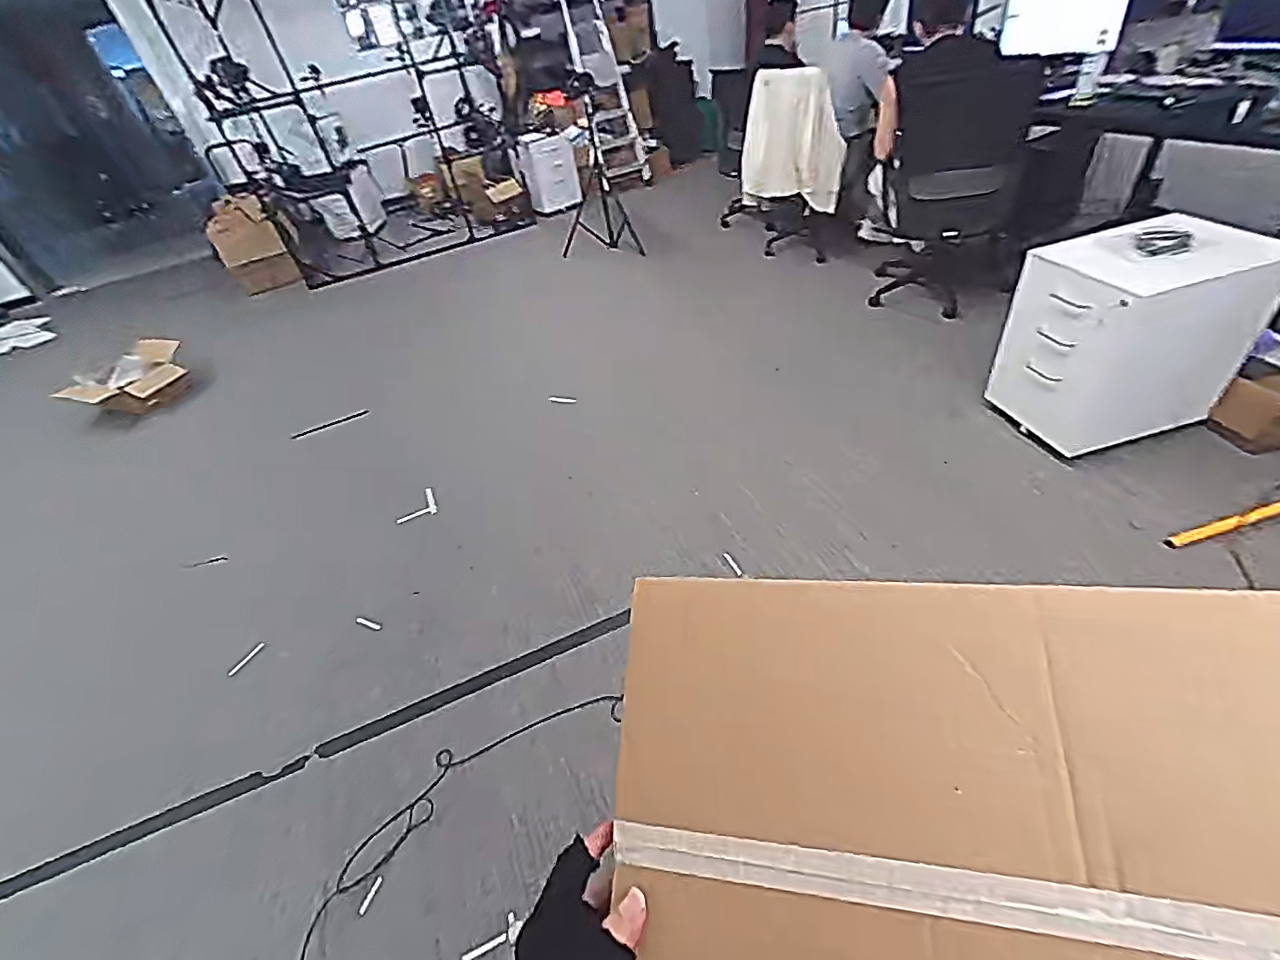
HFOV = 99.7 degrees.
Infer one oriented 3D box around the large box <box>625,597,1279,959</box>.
[{"bbox_3d":[0.223,0.276,0.408,0.408,0.320,0.320,-2,68,16],"label":"large box"}]
